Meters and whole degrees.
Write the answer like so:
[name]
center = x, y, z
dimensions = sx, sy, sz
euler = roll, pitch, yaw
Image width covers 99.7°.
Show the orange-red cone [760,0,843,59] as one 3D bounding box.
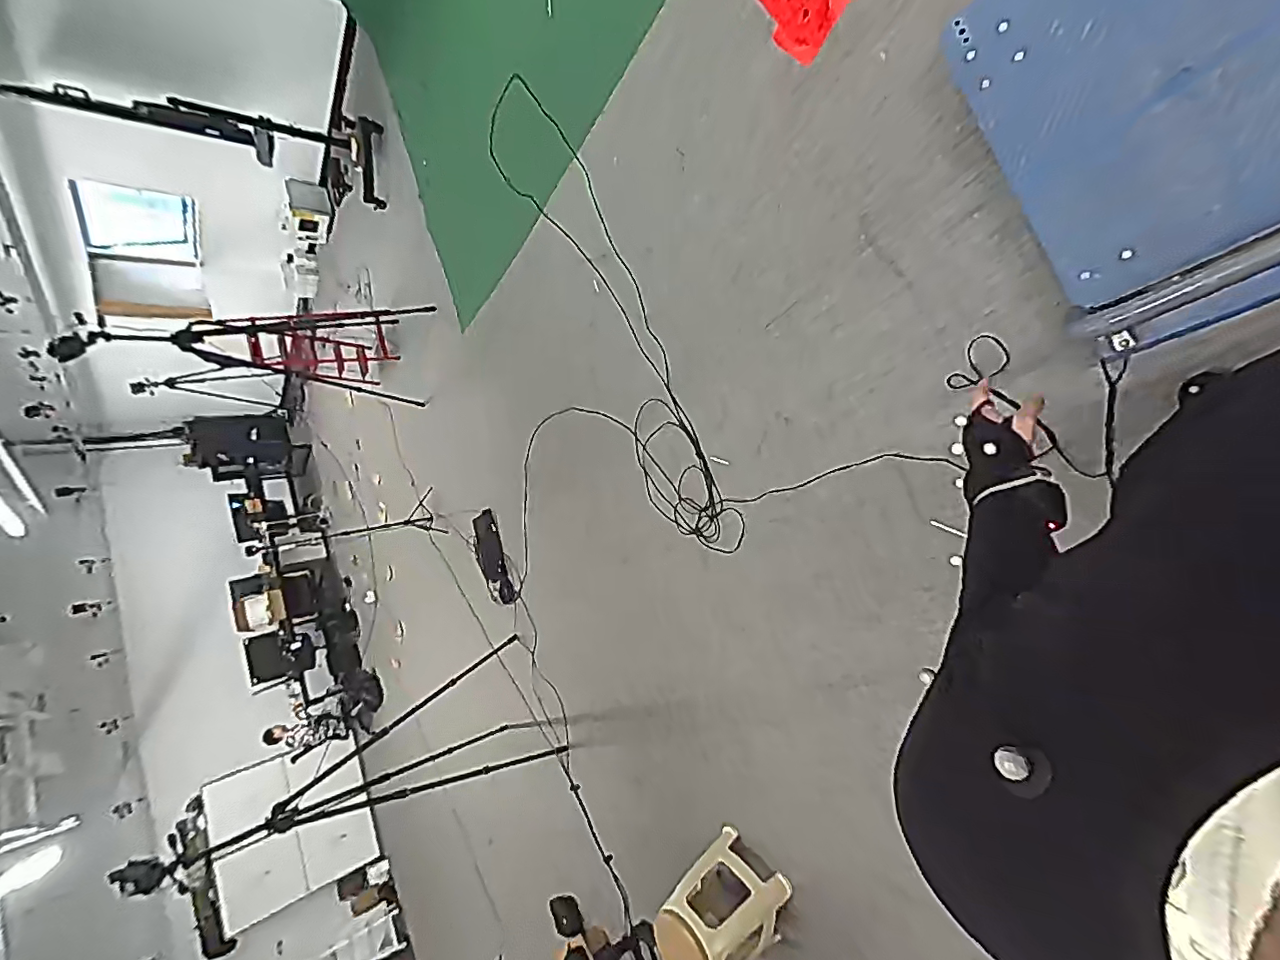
[orange-red cone]
center = 0.388, -1.416, 1.553
dimensions = 0.198, 0.360, 0.199
euler = 59, 137, 23
